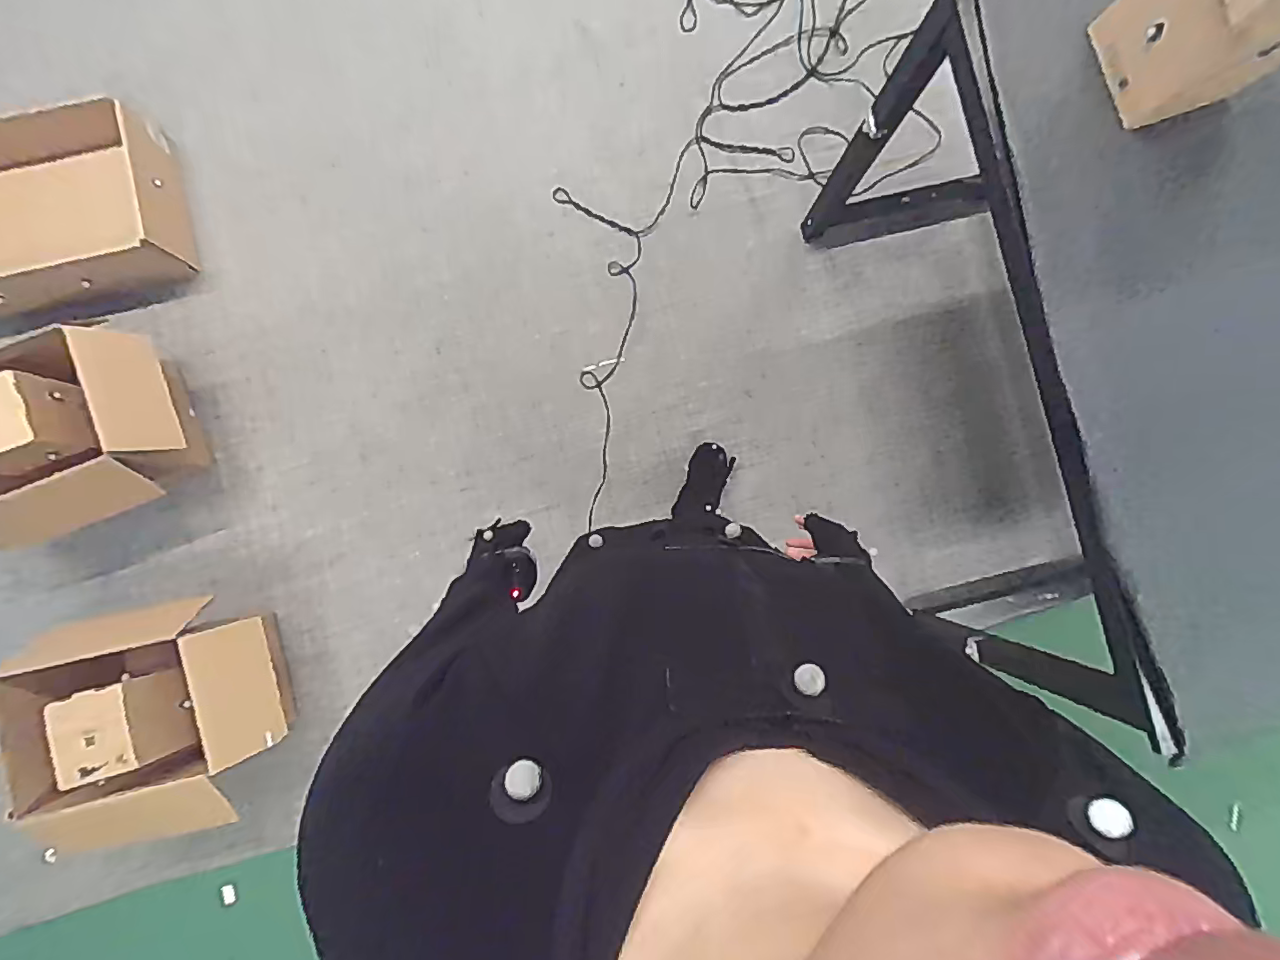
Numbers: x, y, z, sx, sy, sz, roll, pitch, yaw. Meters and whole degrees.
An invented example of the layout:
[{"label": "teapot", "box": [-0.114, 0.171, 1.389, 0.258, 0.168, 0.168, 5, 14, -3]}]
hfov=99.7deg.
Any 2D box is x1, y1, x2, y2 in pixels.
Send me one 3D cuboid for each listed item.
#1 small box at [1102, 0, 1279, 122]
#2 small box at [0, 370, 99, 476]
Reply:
[{"label": "small box", "box": [0.772, -0.623, 0.720, 0.179, 0.176, 0.168, -19, 89, -3]}, {"label": "small box", "box": [-1.358, -0.118, 1.190, 0.179, 0.176, 0.168, -22, 86, -4]}]
